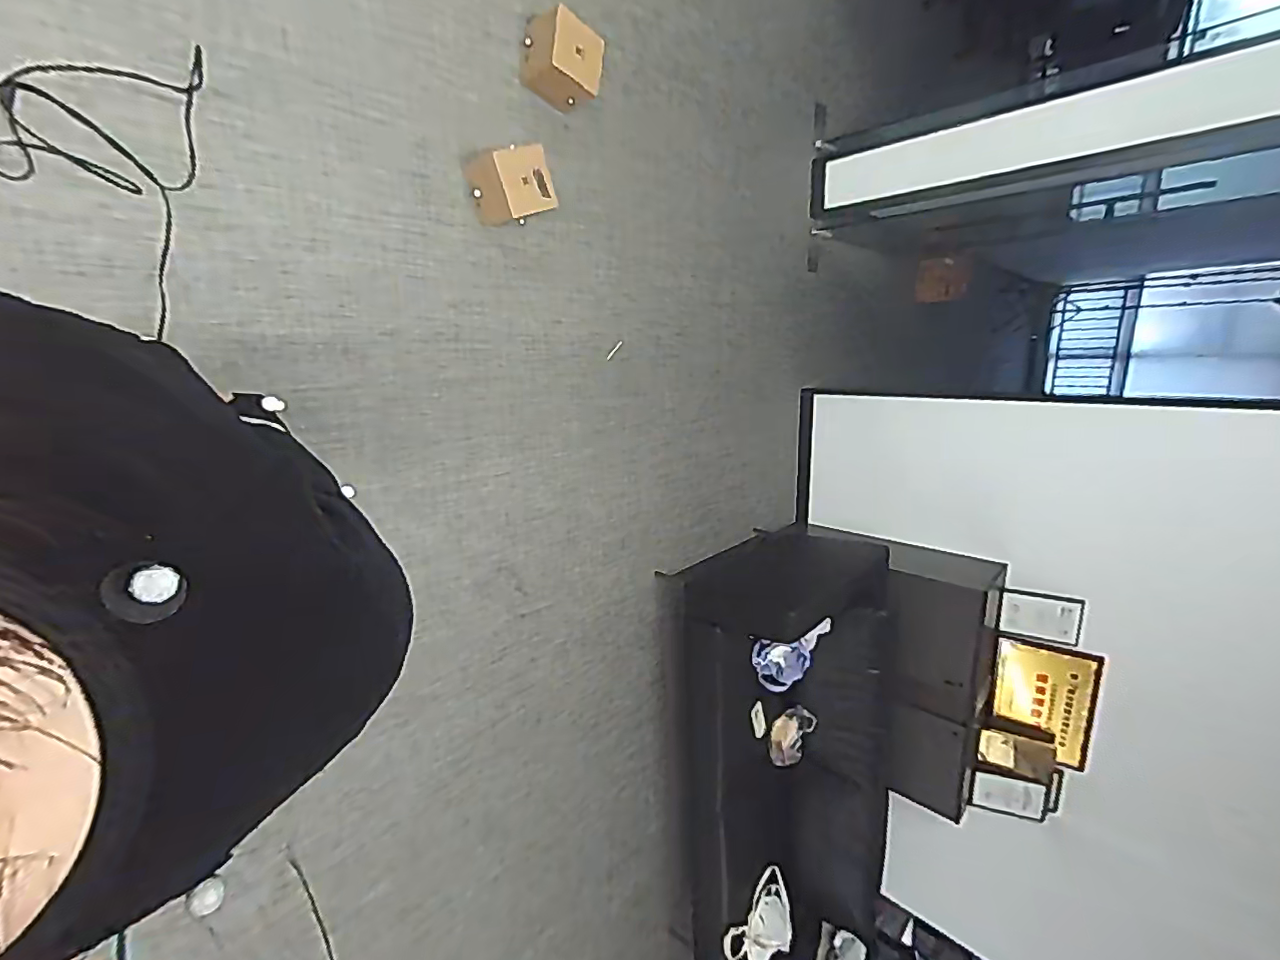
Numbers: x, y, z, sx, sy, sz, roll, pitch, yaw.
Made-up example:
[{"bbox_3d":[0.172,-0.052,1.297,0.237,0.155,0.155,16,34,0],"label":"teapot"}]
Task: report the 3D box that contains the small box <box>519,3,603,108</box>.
[{"bbox_3d":[-0.237,-1.257,1.623,0.179,0.176,0.168,4,95,-47],"label":"small box"}]
